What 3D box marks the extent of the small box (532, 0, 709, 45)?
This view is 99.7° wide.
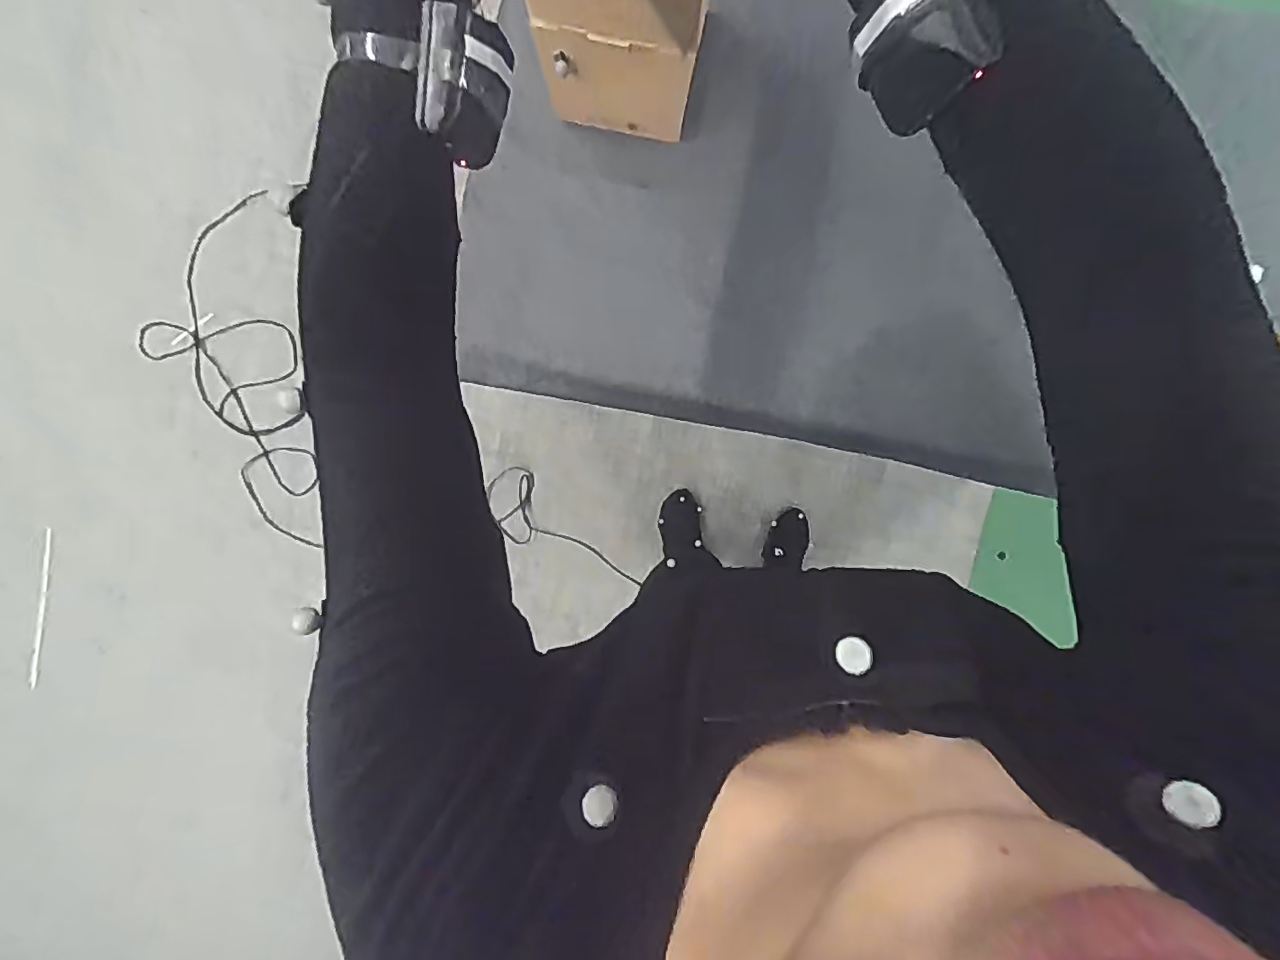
[{"bbox_3d":[-0.012,-0.519,0.456,0.179,0.176,0.168,12,96,0],"label":"small box"}]
